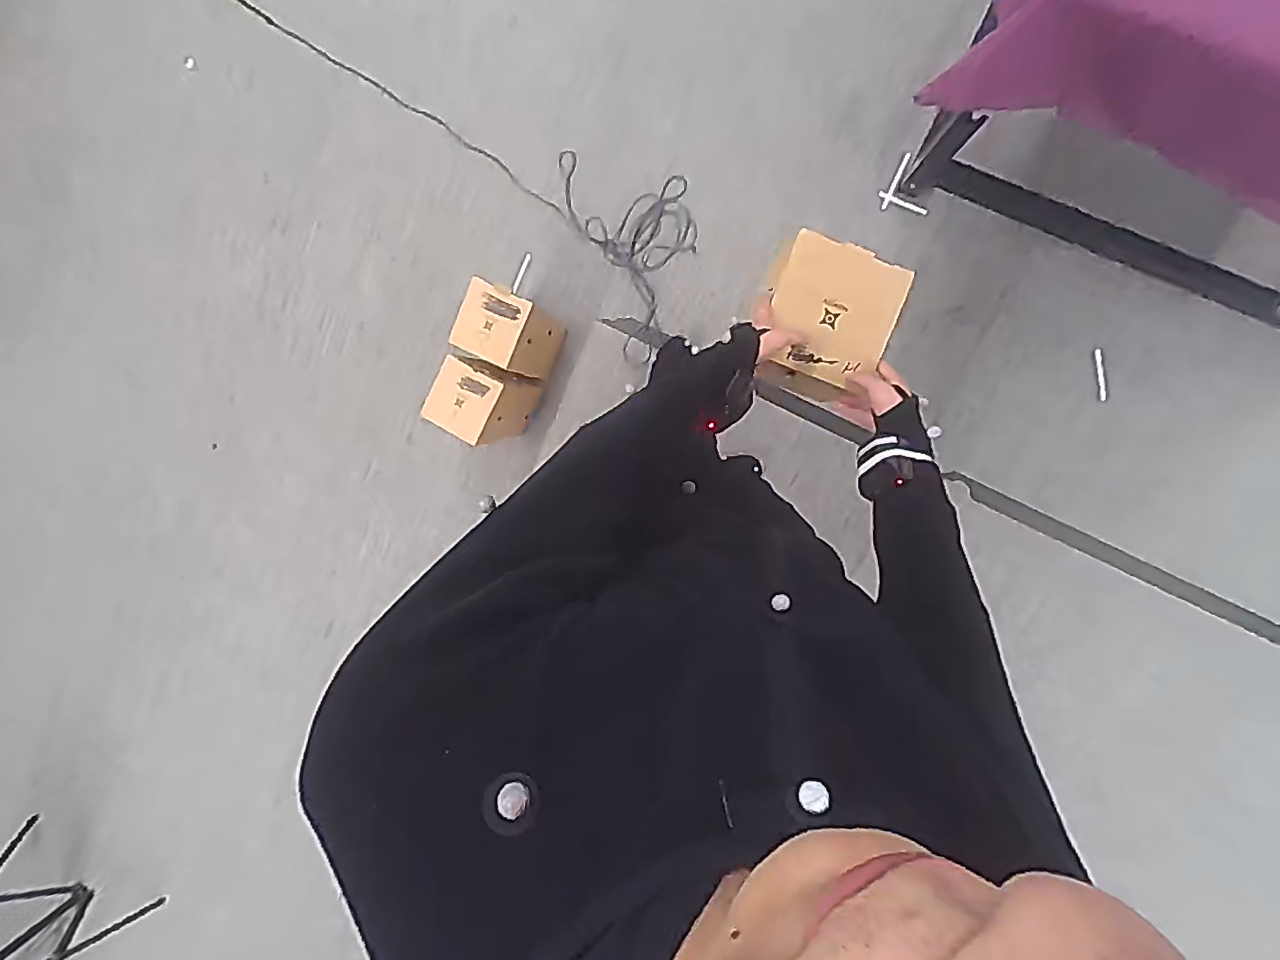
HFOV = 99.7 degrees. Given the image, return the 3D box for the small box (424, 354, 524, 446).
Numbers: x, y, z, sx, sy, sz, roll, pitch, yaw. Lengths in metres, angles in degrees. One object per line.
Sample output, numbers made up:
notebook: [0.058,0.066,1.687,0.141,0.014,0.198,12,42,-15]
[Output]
small box: [-0.426,-0.210,1.421,0.168,0.176,0.179,31,103,4]

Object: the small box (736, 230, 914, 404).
small box: [0.252,-0.221,0.785,0.168,0.176,0.179,22,95,-1]
